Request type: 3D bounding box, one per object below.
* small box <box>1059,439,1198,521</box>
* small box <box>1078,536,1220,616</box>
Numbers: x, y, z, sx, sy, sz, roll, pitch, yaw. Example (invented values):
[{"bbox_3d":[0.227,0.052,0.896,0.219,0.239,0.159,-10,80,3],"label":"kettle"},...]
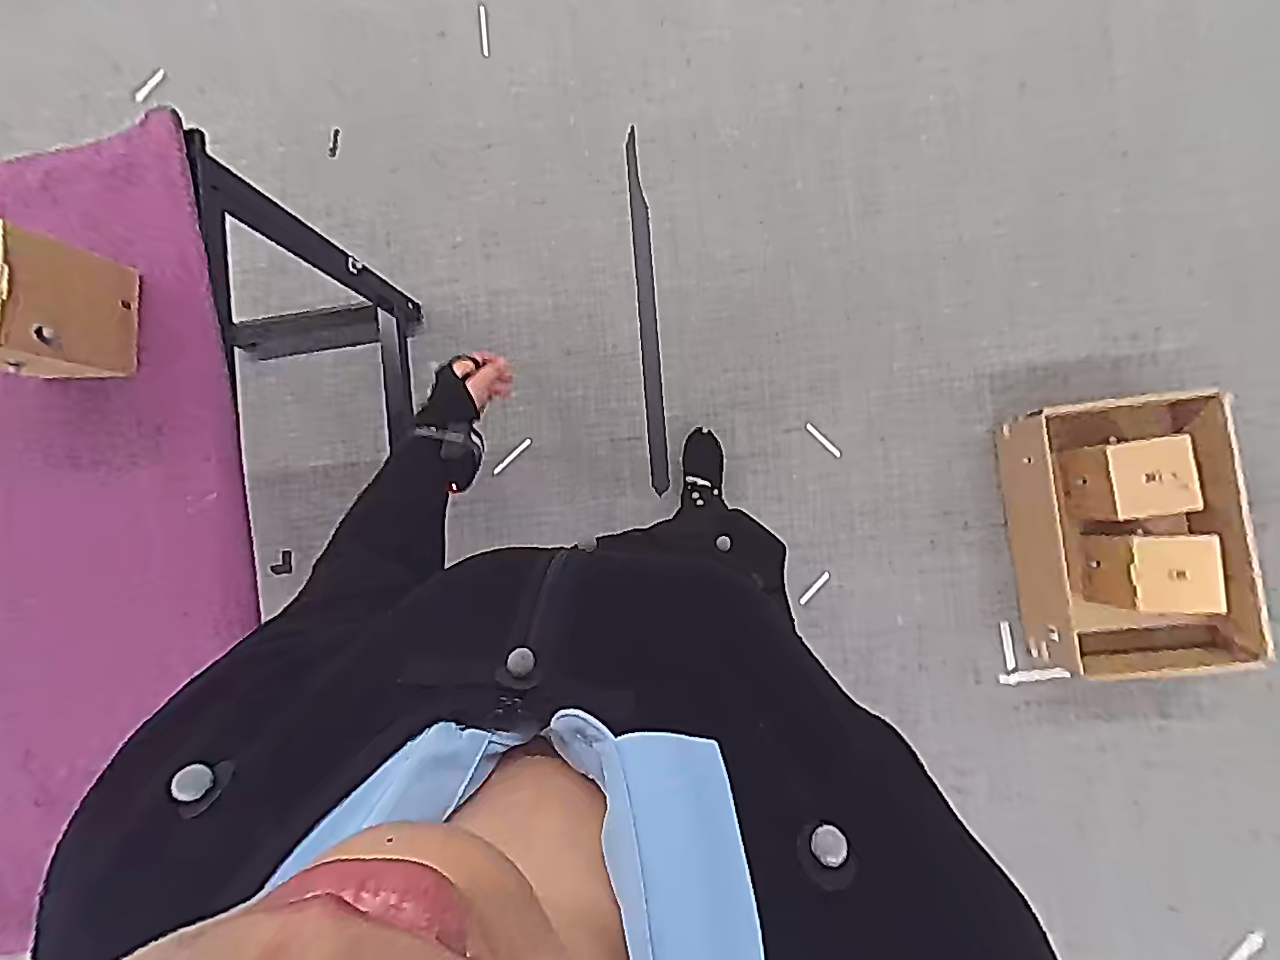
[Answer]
[{"bbox_3d":[1.125,0.004,1.265,0.179,0.176,0.168,-8,88,5],"label":"small box"},{"bbox_3d":[1.168,0.217,1.253,0.179,0.176,0.168,-1,86,6],"label":"small box"}]
